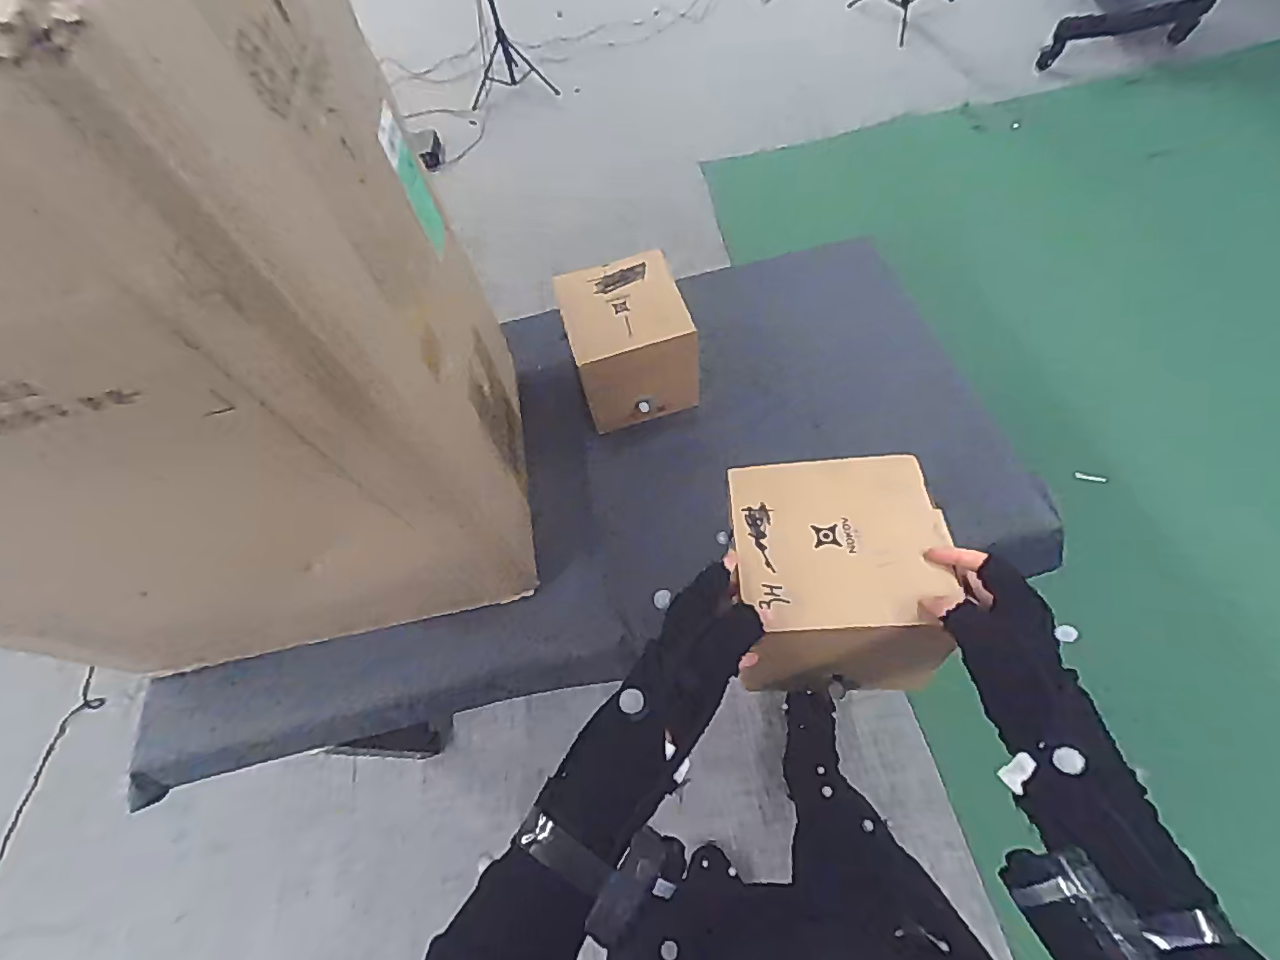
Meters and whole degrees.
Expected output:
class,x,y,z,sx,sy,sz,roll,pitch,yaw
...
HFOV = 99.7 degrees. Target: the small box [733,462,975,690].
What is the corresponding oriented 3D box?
class,x,y,z,sx,sy,sz,roll,pitch,yaw
small box,0.186,0.100,0.535,0.179,0.176,0.168,-3,53,7
